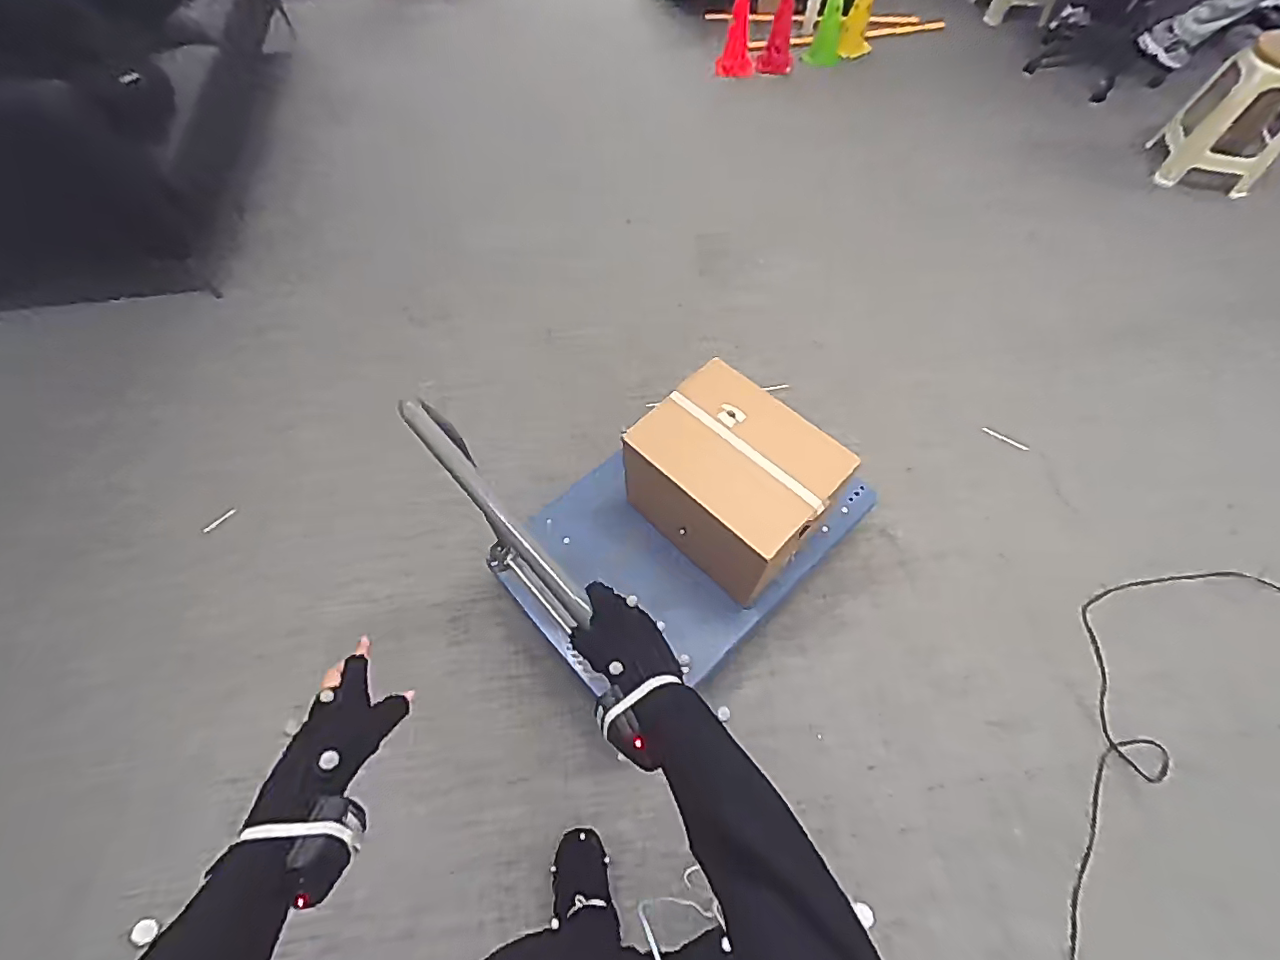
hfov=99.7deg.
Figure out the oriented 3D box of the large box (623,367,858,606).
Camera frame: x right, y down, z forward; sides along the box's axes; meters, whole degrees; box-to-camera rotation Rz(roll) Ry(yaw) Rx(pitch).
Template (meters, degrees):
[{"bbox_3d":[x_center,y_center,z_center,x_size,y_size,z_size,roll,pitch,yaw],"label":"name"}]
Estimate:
[{"bbox_3d":[0.214,0.020,1.270,0.408,0.320,0.320,40,68,22],"label":"large box"}]
